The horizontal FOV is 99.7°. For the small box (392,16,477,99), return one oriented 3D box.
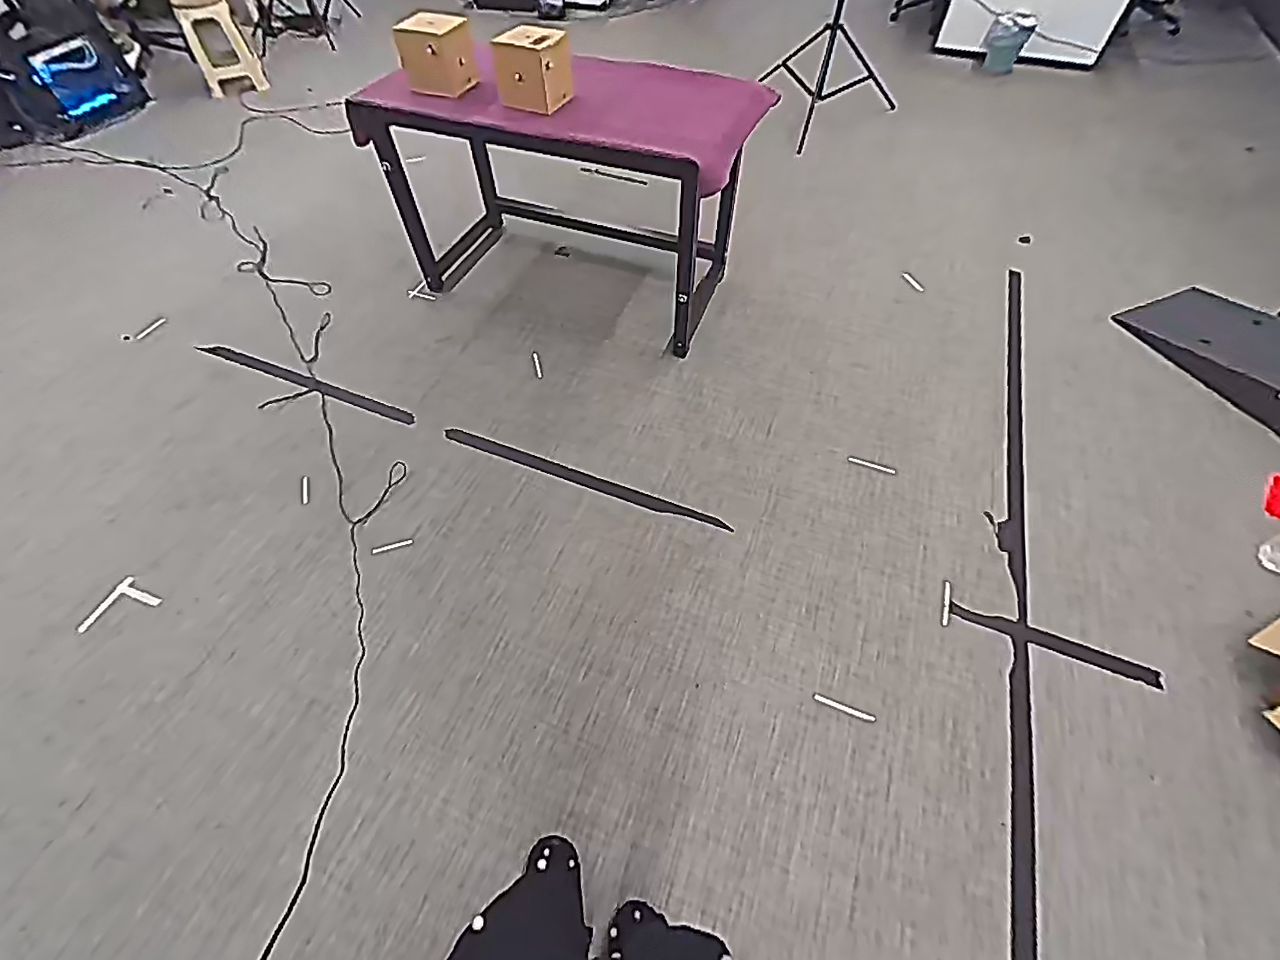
[{"bbox_3d":[-0.649,-1.355,1.738,0.179,0.176,0.168,16,55,11],"label":"small box"}]
